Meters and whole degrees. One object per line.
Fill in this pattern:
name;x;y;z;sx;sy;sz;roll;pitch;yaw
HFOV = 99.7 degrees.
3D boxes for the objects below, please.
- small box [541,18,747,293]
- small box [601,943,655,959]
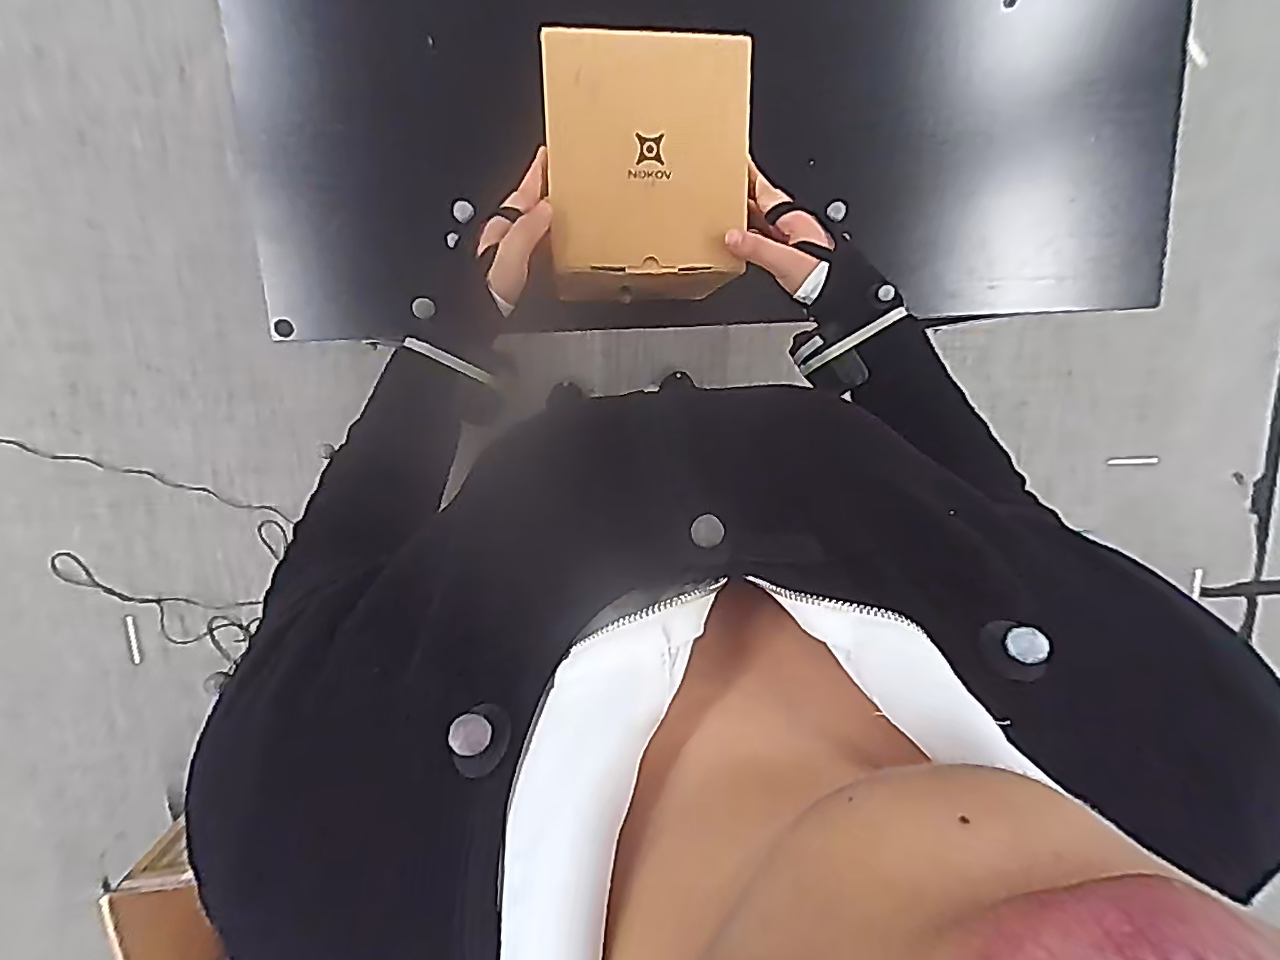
small box;-0.005;-0.281;0.510;0.168;0.176;0.179;-2;102;-6
small box;-0.035;1.554;1.642;0.168;0.176;0.179;1;98;-5
